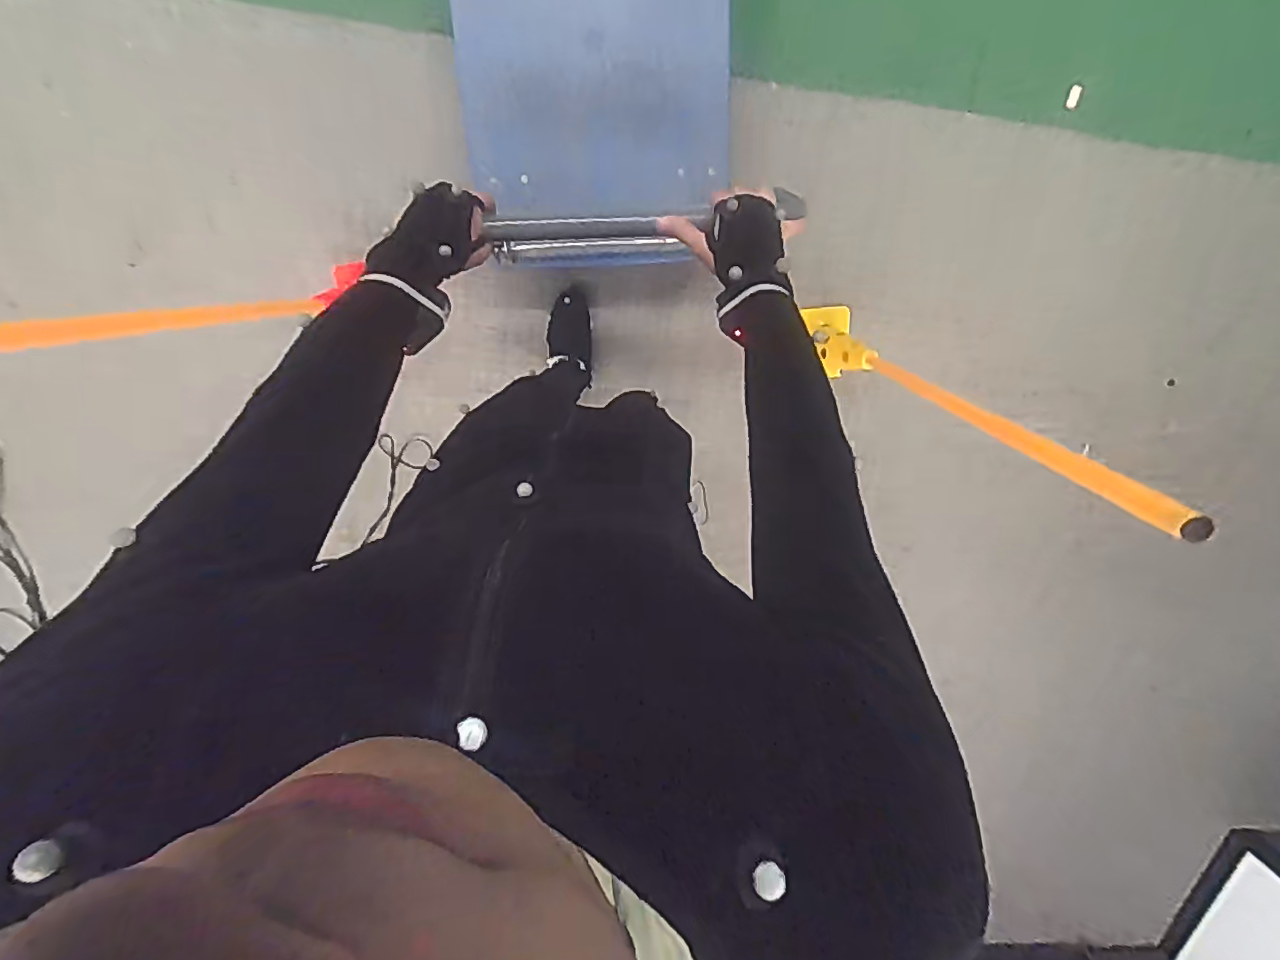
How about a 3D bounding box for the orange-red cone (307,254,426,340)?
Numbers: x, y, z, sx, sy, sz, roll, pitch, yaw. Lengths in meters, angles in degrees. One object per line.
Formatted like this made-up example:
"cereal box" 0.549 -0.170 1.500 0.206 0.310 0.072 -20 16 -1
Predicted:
"orange-red cone" -0.664 -0.416 1.251 0.199 0.360 0.198 -9 110 0
